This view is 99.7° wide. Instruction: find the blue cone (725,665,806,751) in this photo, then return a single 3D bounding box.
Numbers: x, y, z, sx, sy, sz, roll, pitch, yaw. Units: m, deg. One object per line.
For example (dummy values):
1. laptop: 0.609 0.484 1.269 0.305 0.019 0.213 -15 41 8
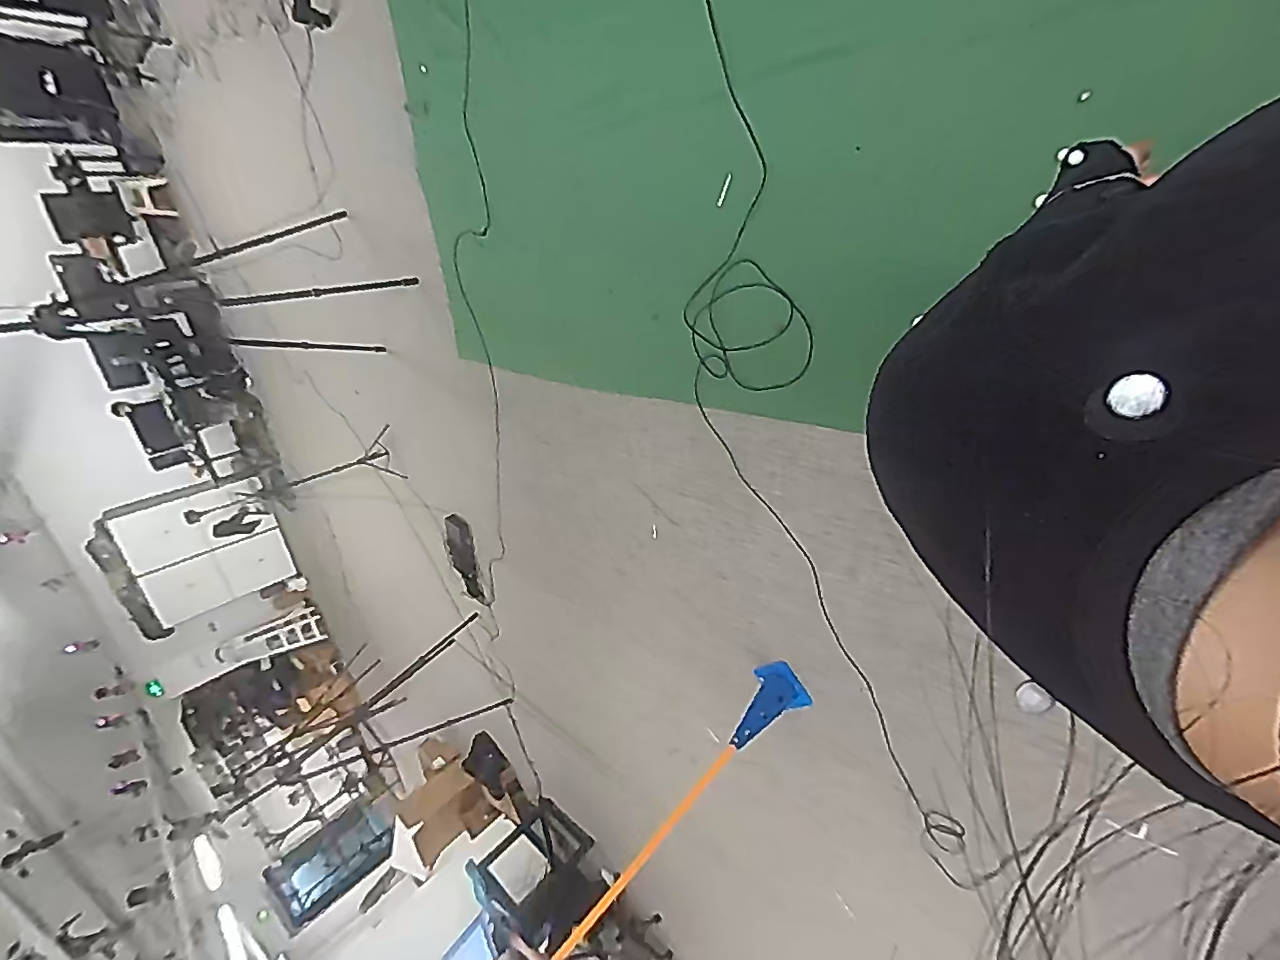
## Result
1. blue cone: 0.454 0.907 2.081 0.192 0.380 0.193 54 141 8
